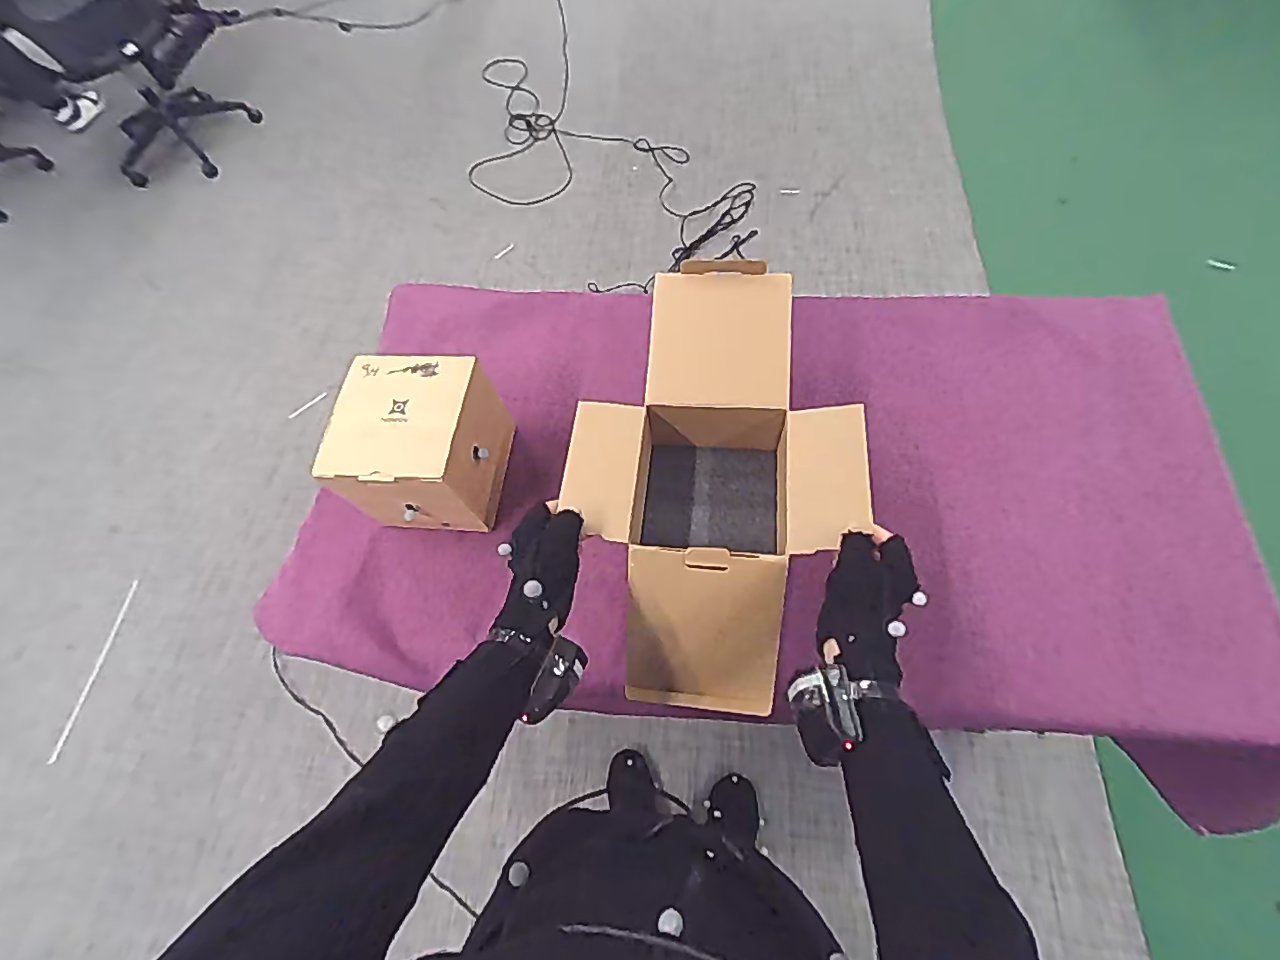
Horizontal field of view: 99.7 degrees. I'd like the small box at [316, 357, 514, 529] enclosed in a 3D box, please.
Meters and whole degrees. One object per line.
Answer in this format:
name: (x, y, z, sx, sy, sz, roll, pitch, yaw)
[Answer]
small box: (-0.282, -0.043, 0.724, 0.168, 0.176, 0.179, 2, 65, 7)
